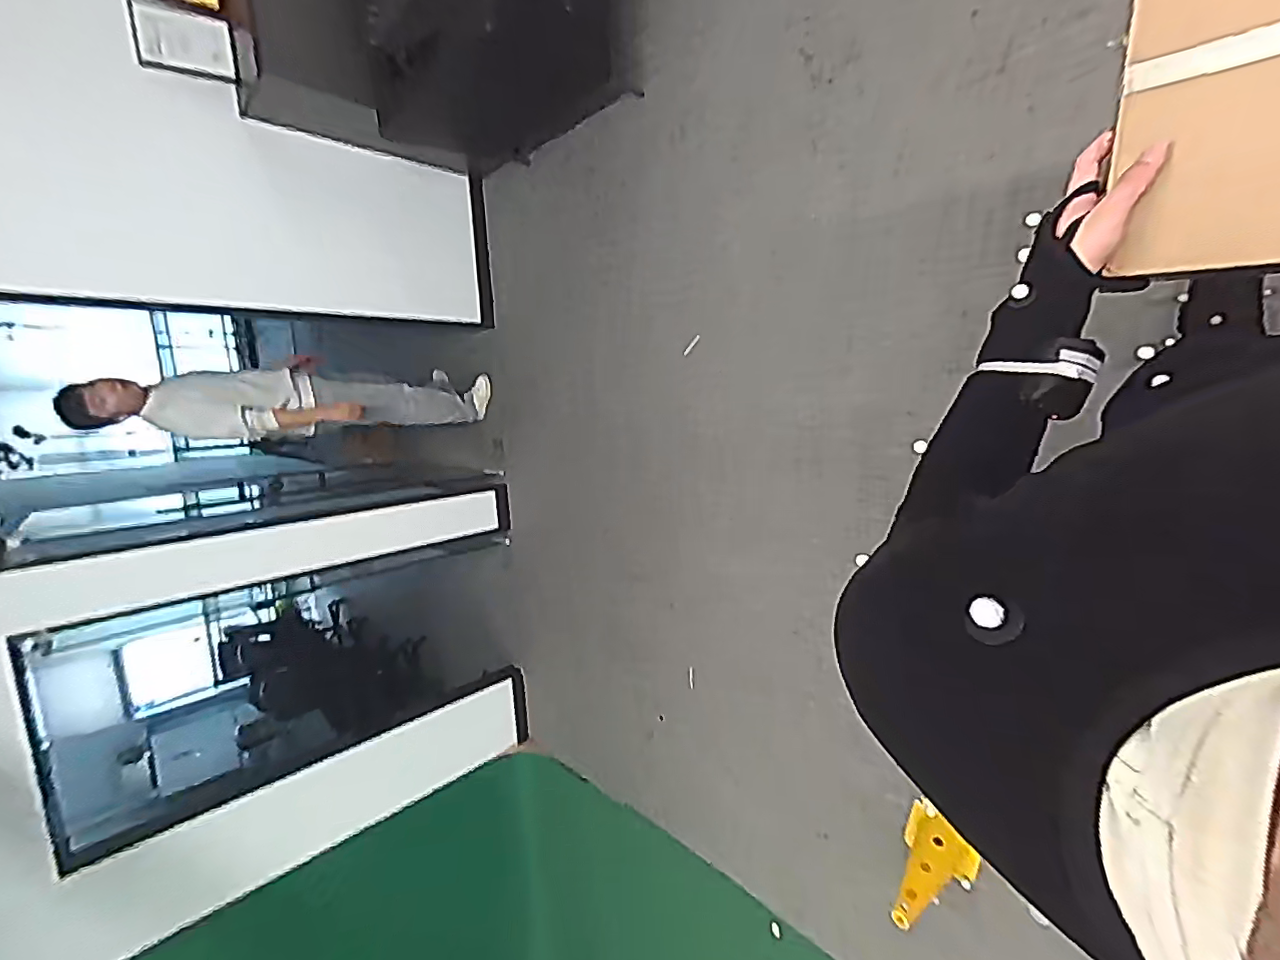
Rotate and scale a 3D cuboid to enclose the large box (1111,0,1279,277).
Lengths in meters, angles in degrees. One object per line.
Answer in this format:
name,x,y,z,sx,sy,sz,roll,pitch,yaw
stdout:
large box,0.662,-0.348,0.418,0.408,0.320,0.320,12,112,45
